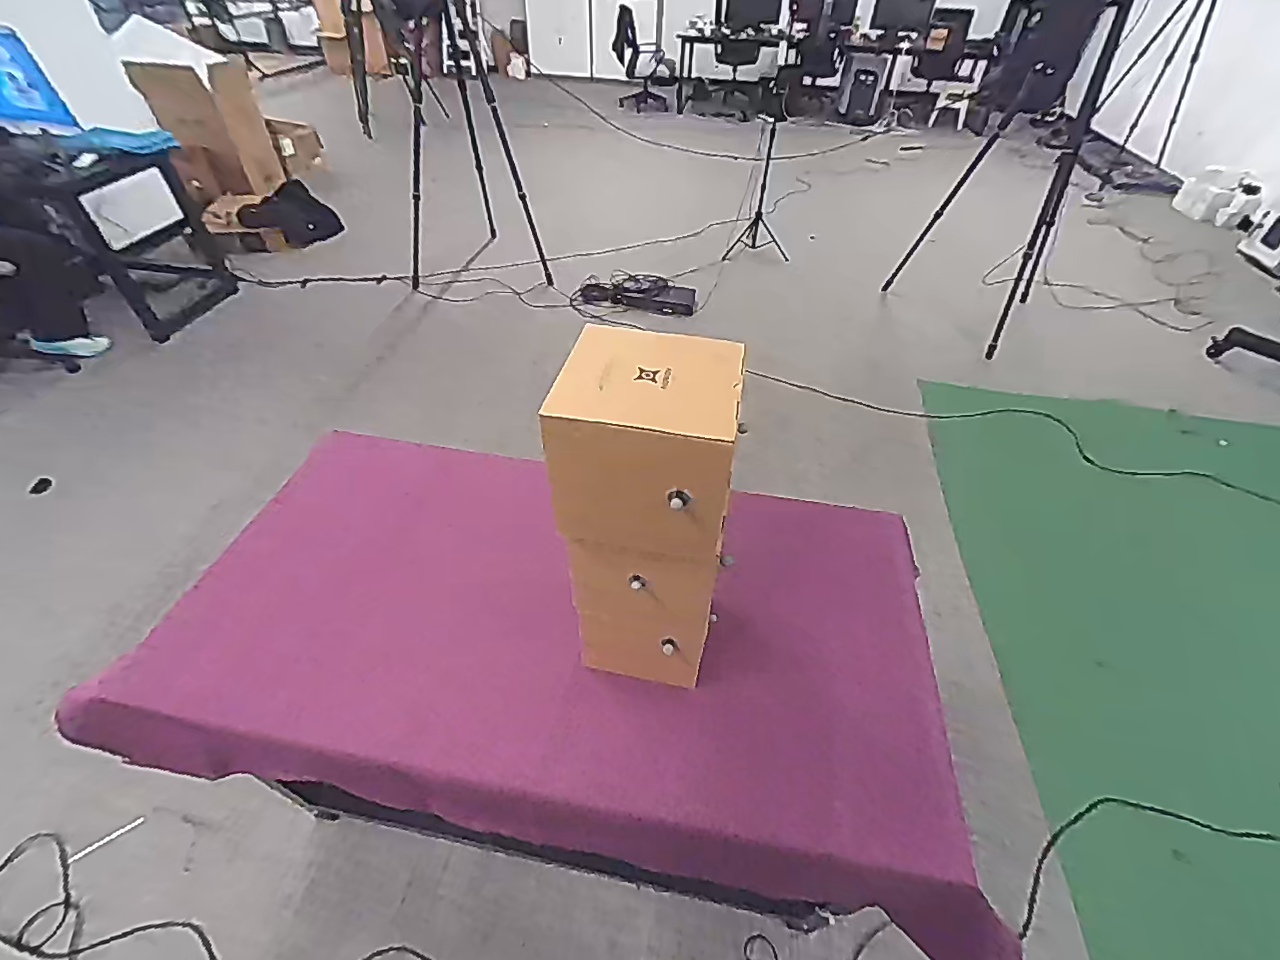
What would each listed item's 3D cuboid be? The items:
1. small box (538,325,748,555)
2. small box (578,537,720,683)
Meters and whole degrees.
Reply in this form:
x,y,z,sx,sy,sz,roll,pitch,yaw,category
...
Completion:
x,y,z,sx,sy,sz,roll,pitch,yaw,category
0.009,-0.040,0.576,0.179,0.176,0.168,9,45,8,small box
0.016,0.184,0.815,0.179,0.176,0.168,10,45,7,small box
